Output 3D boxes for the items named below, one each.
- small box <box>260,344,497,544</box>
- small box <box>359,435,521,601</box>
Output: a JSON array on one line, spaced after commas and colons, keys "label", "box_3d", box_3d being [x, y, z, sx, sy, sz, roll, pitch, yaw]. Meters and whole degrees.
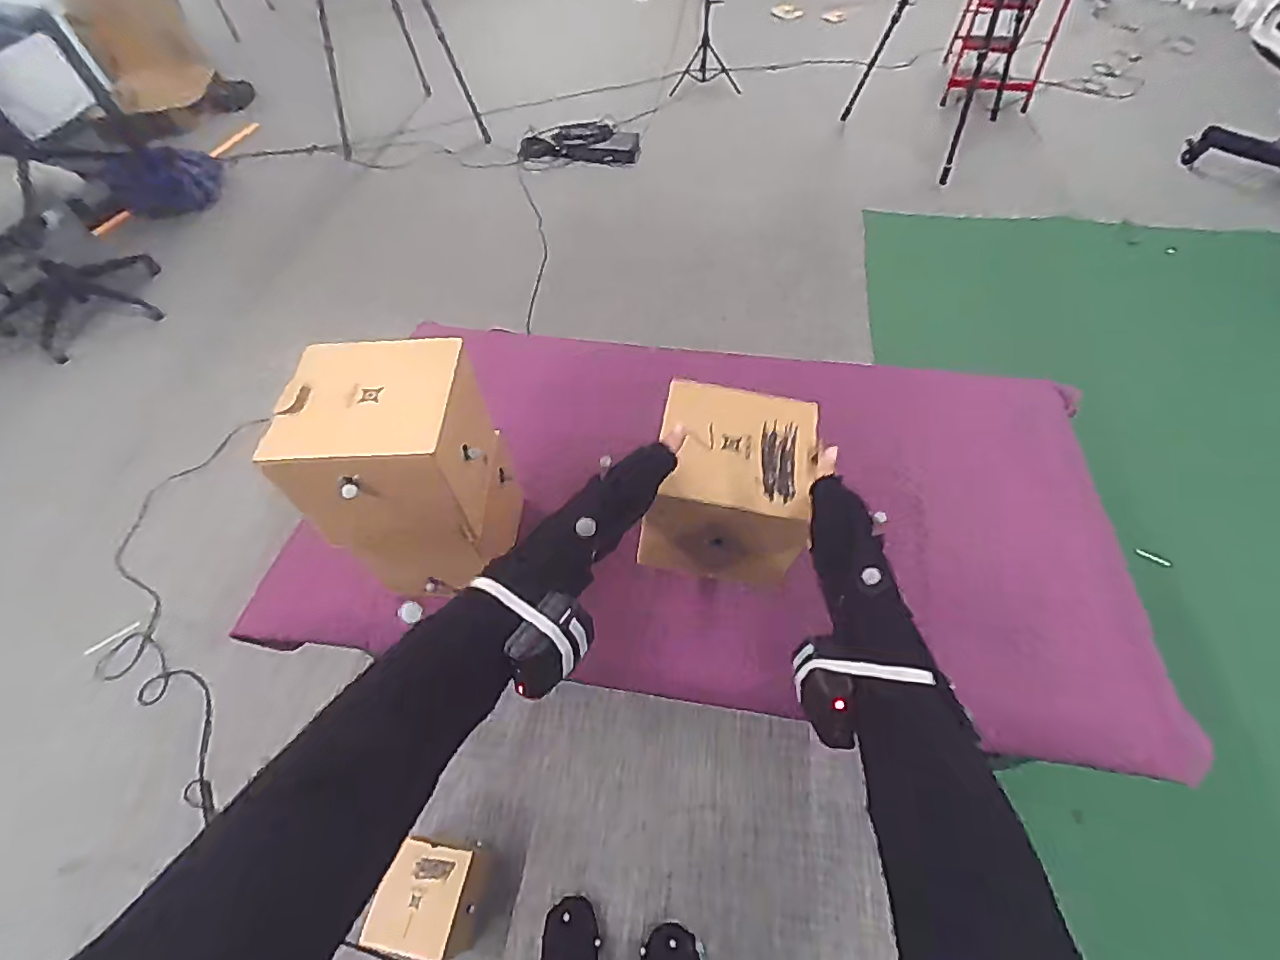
[{"label": "small box", "box_3d": [-0.273, -0.036, 0.620, 0.179, 0.176, 0.168, -2, 54, 0]}, {"label": "small box", "box_3d": [-0.272, 0.050, 0.759, 0.168, 0.176, 0.179, 3, 54, 3]}]
